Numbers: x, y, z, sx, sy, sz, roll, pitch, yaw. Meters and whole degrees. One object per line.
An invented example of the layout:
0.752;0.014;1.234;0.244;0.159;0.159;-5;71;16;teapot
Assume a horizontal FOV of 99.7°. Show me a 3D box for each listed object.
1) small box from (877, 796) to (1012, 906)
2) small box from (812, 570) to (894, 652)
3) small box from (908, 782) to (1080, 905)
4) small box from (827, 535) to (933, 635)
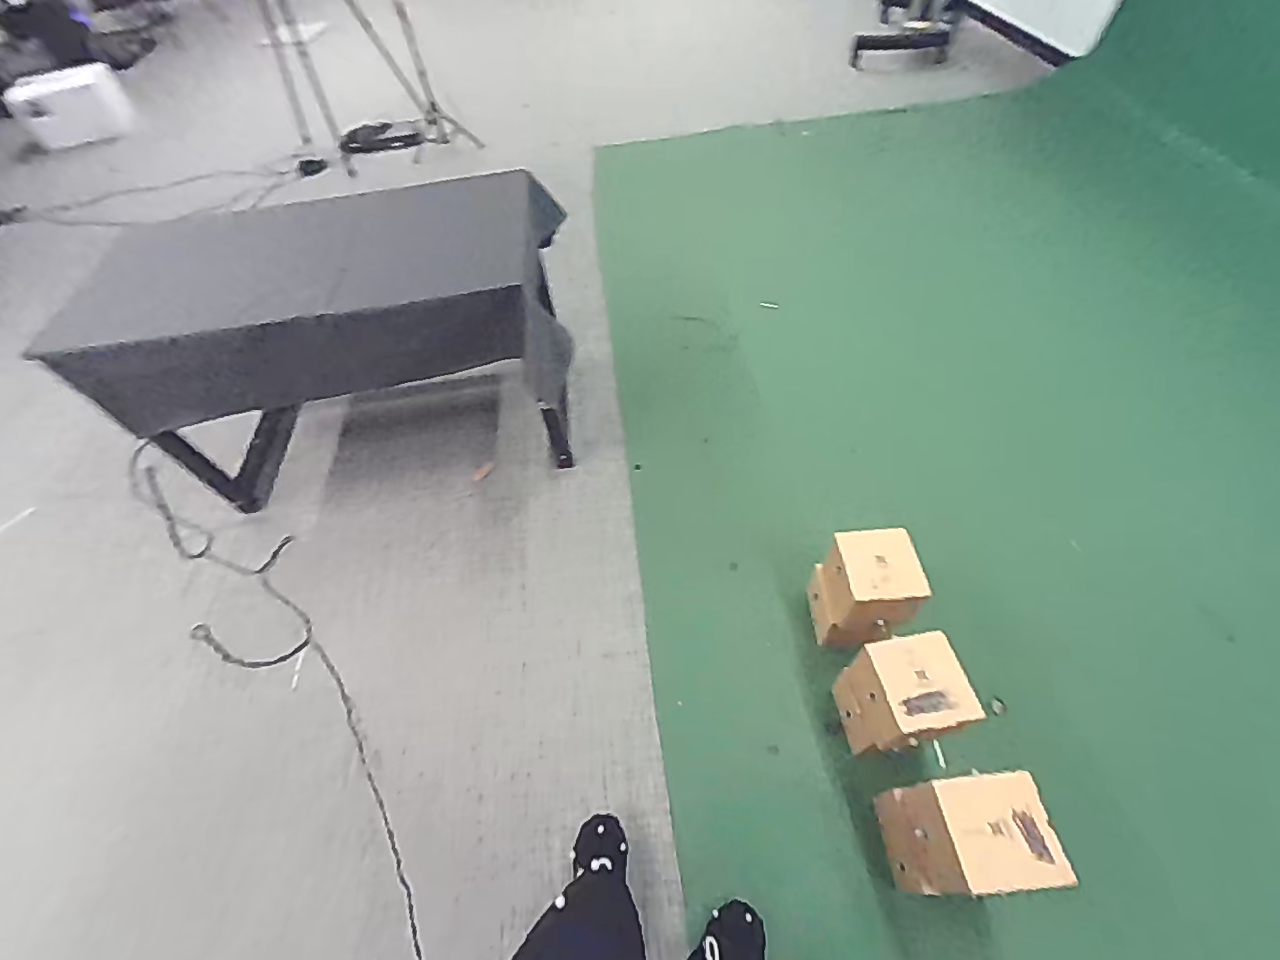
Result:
0.607;0.751;1.101;0.168;0.176;0.179;-5;53;2;small box
0.557;0.344;1.416;0.179;0.176;0.168;-3;52;3;small box
0.618;0.650;0.971;0.179;0.176;0.168;-6;53;1;small box
0.554;0.250;1.279;0.168;0.176;0.179;-4;52;3;small box
